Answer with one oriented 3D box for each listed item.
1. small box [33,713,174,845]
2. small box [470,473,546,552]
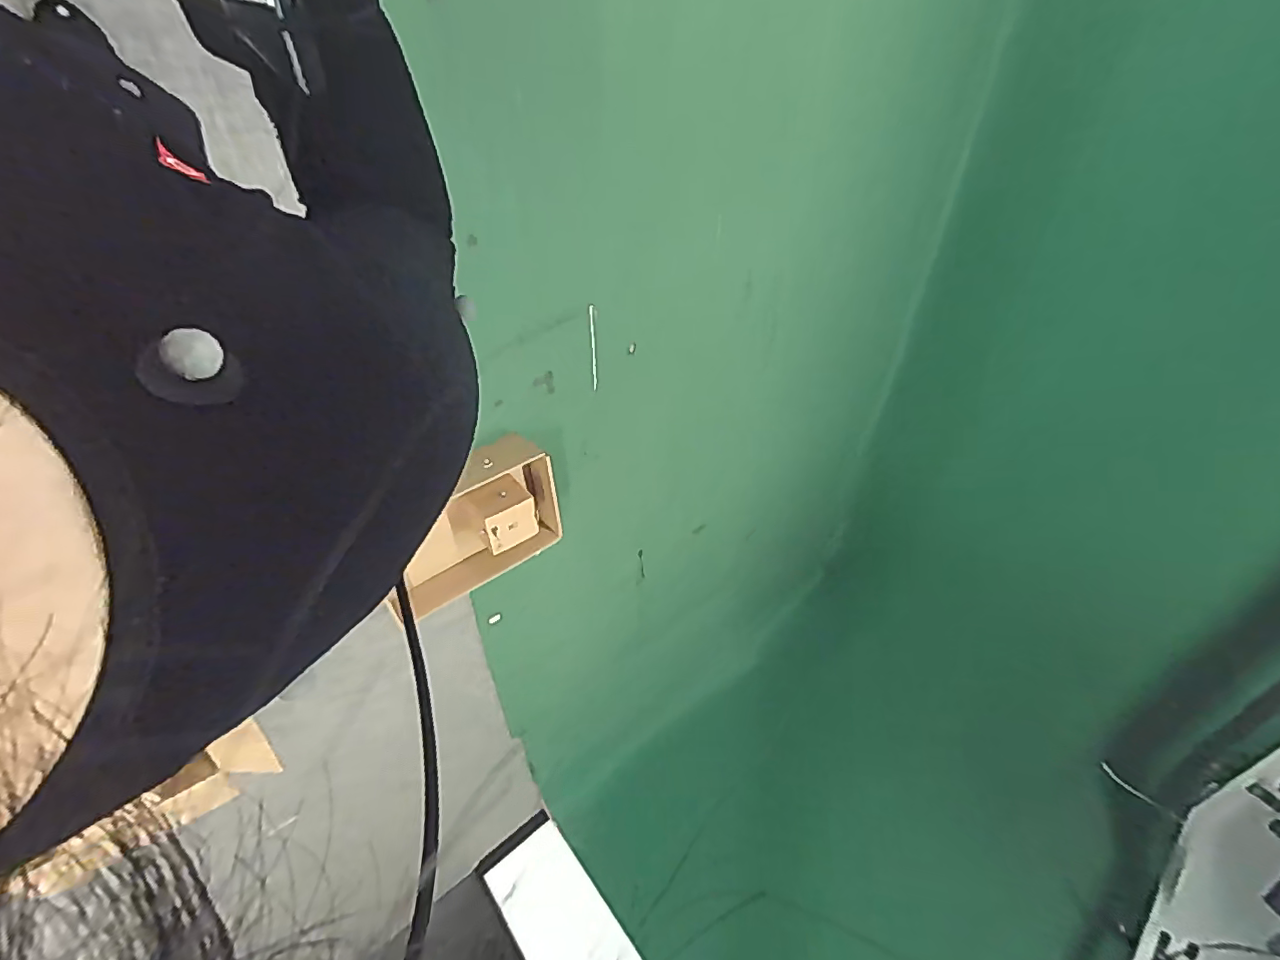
[{"bbox_3d":[-1.212,0.671,1.228,0.168,0.176,0.179,-31,137,-30],"label":"small box"},{"bbox_3d":[-0.442,0.102,1.814,0.179,0.176,0.168,-28,136,-29],"label":"small box"}]
